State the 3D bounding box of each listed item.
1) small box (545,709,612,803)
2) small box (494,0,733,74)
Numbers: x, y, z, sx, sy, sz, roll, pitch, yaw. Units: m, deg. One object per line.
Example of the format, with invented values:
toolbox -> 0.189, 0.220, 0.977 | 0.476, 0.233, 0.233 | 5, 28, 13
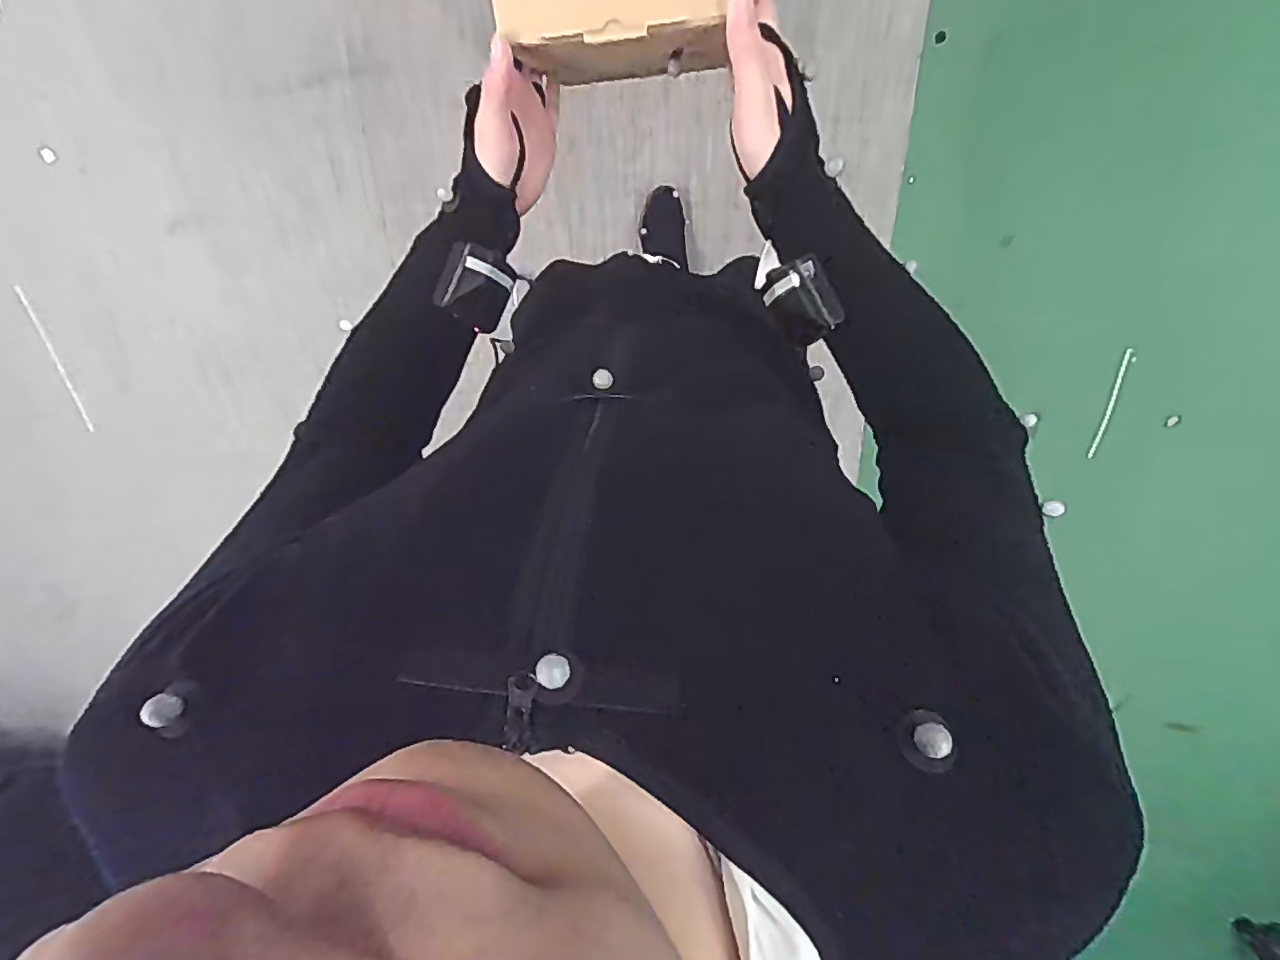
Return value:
small box -> -0.175, 0.790, 1.559 | 0.168, 0.176, 0.179 | 4, 117, 4
small box -> -0.012, -0.420, 0.399 | 0.168, 0.176, 0.179 | 0, 118, 8
